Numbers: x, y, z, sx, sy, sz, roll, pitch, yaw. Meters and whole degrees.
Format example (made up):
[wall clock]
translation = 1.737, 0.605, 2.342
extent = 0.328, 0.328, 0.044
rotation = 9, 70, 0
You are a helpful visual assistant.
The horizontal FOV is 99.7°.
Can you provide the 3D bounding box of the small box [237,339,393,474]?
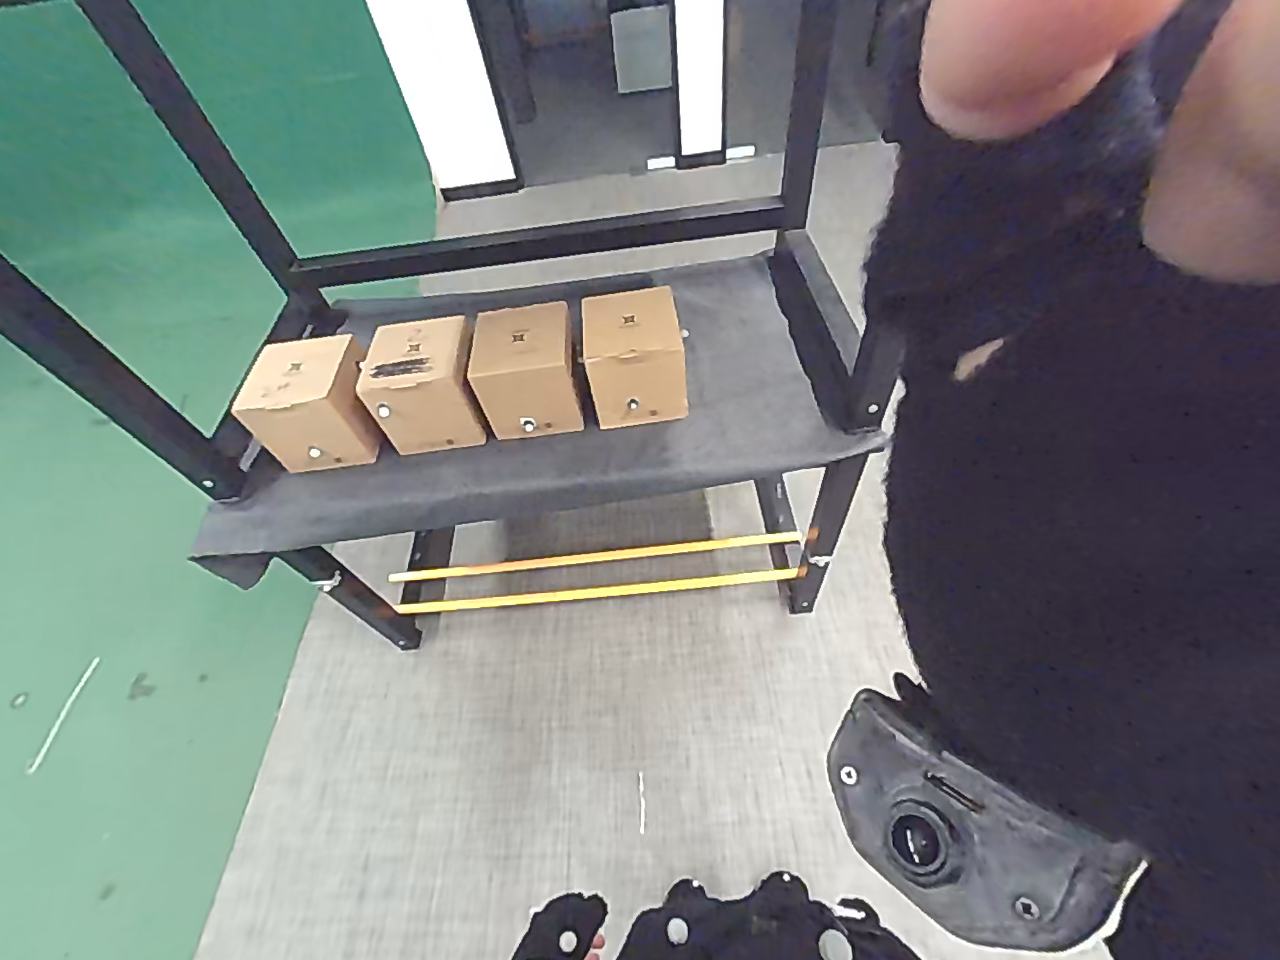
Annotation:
[small box]
translation = -0.584, -0.134, 1.003
extent = 0.168, 0.176, 0.179
rotation = -7, 52, 2
